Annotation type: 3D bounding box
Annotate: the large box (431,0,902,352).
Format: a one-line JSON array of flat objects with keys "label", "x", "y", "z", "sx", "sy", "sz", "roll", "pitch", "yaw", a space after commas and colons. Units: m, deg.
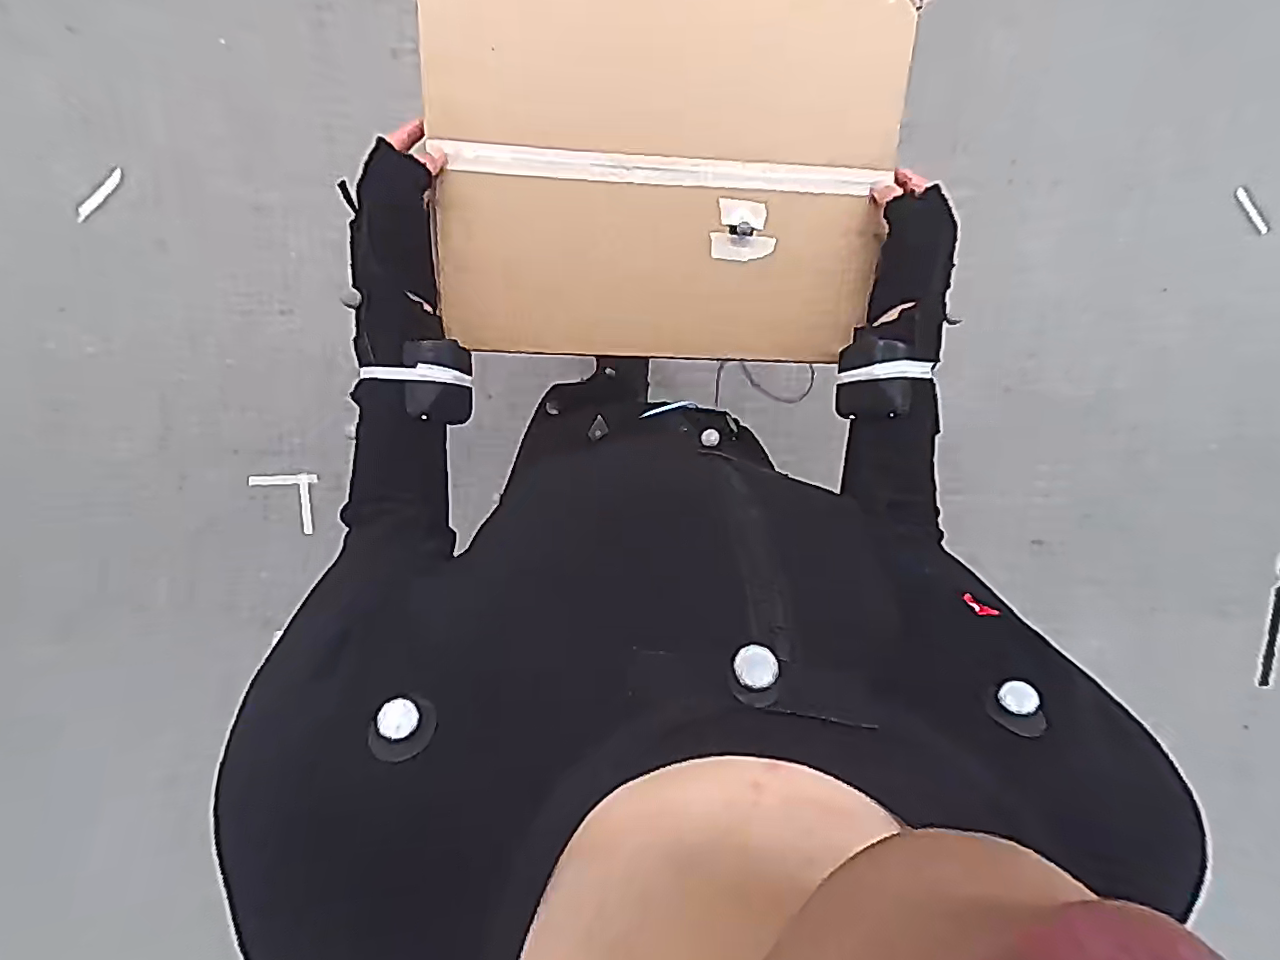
[{"label": "large box", "x": 0.009, "y": -0.317, "z": 0.626, "sx": 0.408, "sy": 0.320, "sz": 0.320, "roll": 1, "pitch": 106, "yaw": -6}]
